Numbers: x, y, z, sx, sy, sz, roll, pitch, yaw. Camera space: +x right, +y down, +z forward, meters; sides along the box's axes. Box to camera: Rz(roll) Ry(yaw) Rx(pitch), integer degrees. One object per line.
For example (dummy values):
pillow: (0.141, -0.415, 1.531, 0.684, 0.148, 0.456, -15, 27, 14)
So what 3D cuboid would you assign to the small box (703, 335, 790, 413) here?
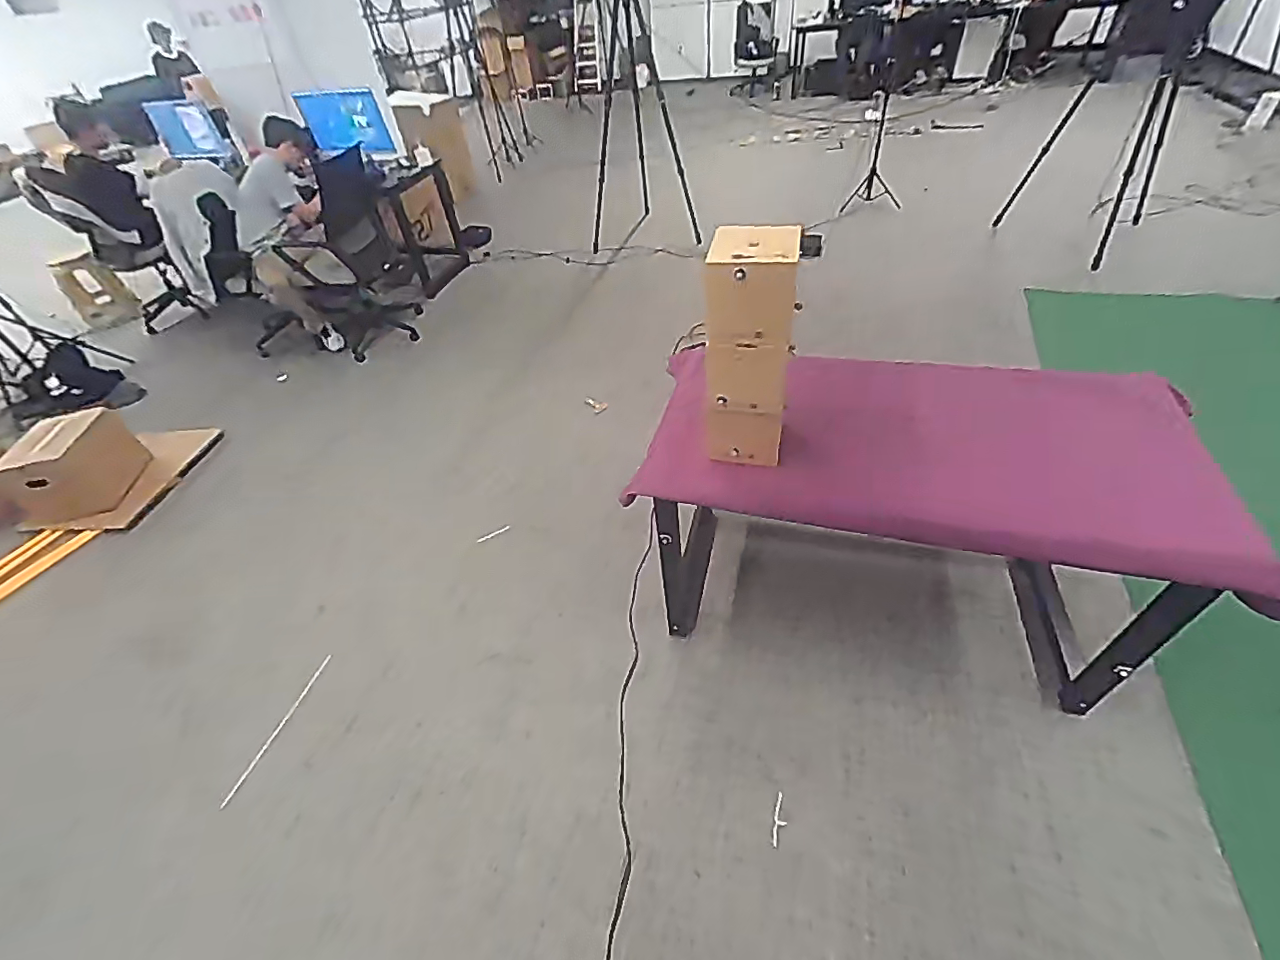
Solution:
small box: (0.238, -0.263, 1.182, 0.168, 0.176, 0.179, 6, 45, 15)

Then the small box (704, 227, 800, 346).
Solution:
small box: (0.222, -0.385, 1.073, 0.168, 0.176, 0.179, 5, 45, 15)

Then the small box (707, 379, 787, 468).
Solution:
small box: (0.257, -0.153, 1.301, 0.168, 0.176, 0.179, 6, 47, 15)
